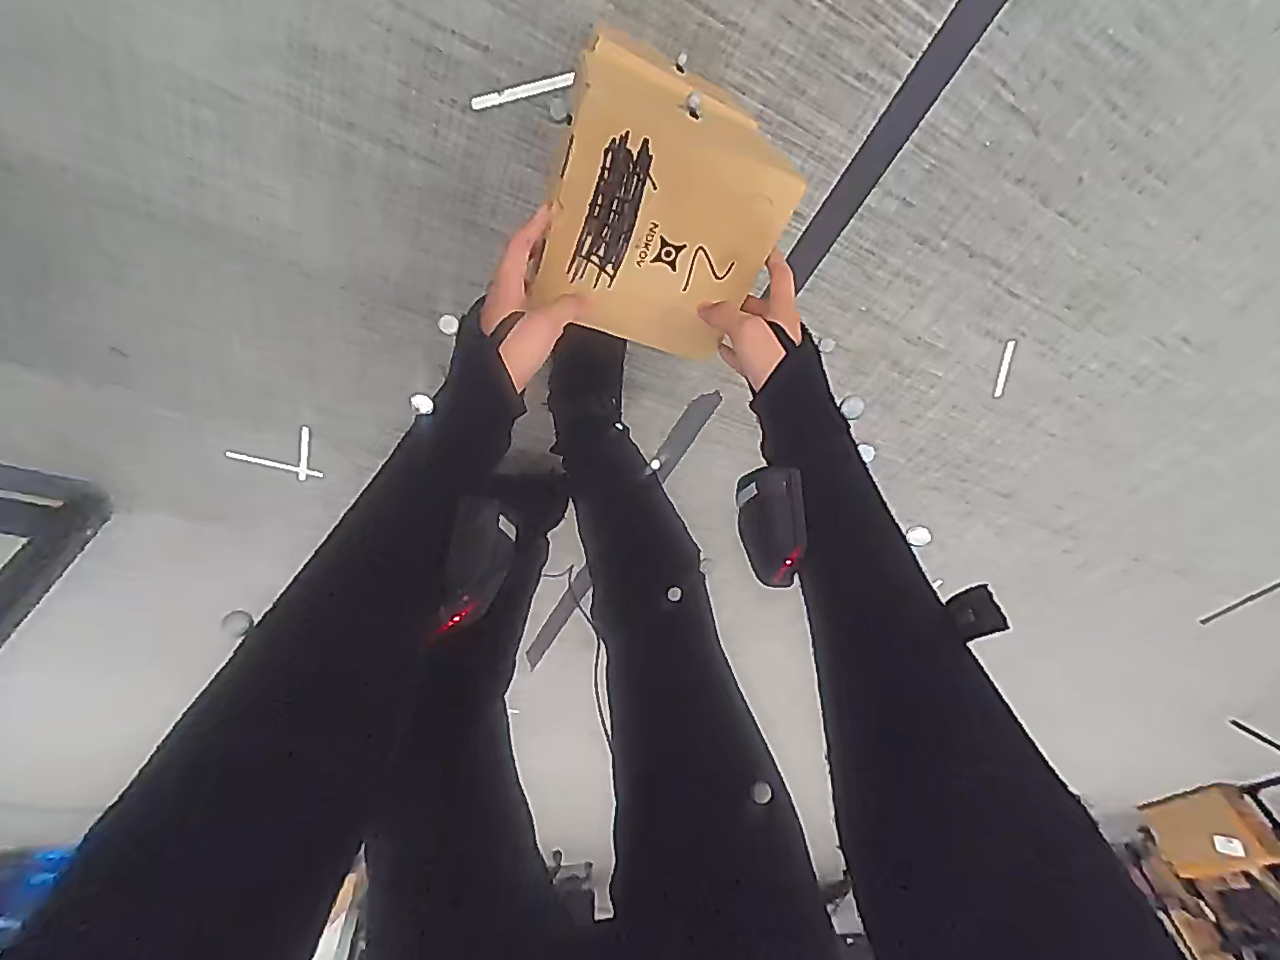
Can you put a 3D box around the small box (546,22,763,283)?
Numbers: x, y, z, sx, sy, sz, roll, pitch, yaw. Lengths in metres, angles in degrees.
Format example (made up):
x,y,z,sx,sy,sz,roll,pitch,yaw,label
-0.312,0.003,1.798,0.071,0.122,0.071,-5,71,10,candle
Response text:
x,y,z,sx,sy,sz,roll,pitch,yaw,label
0.003,-0.358,0.592,0.168,0.176,0.179,16,131,-20,small box
